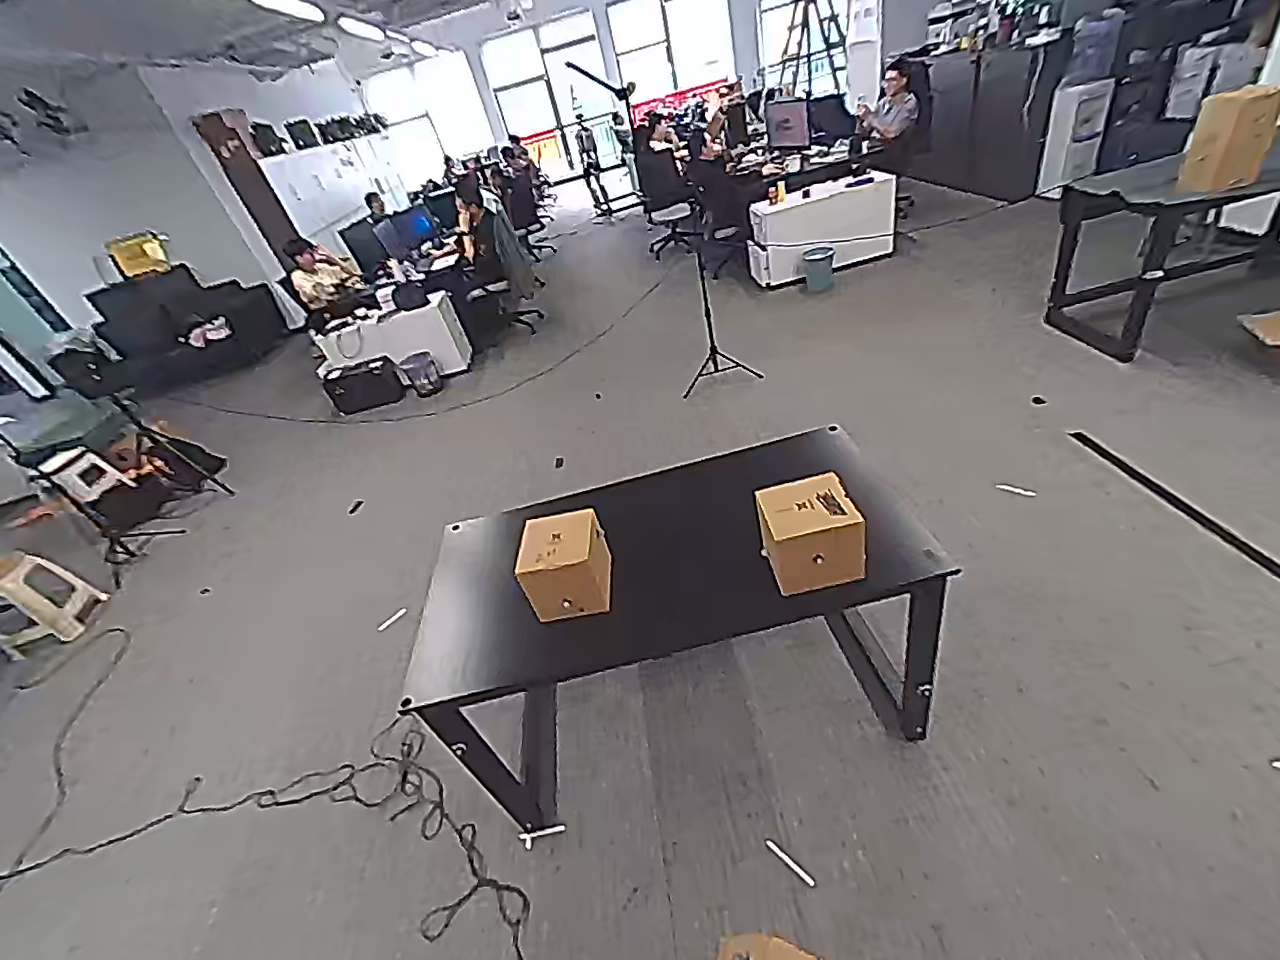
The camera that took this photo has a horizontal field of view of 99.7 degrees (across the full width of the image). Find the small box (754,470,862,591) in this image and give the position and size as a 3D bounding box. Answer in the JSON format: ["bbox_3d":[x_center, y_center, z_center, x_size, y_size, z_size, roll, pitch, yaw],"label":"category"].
[{"bbox_3d":[0.354,0.110,1.148,0.179,0.176,0.168,-15,35,5],"label":"small box"}]

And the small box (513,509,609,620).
[{"bbox_3d":[-0.173,0.195,1.252,0.168,0.176,0.179,-12,37,8],"label":"small box"}]
